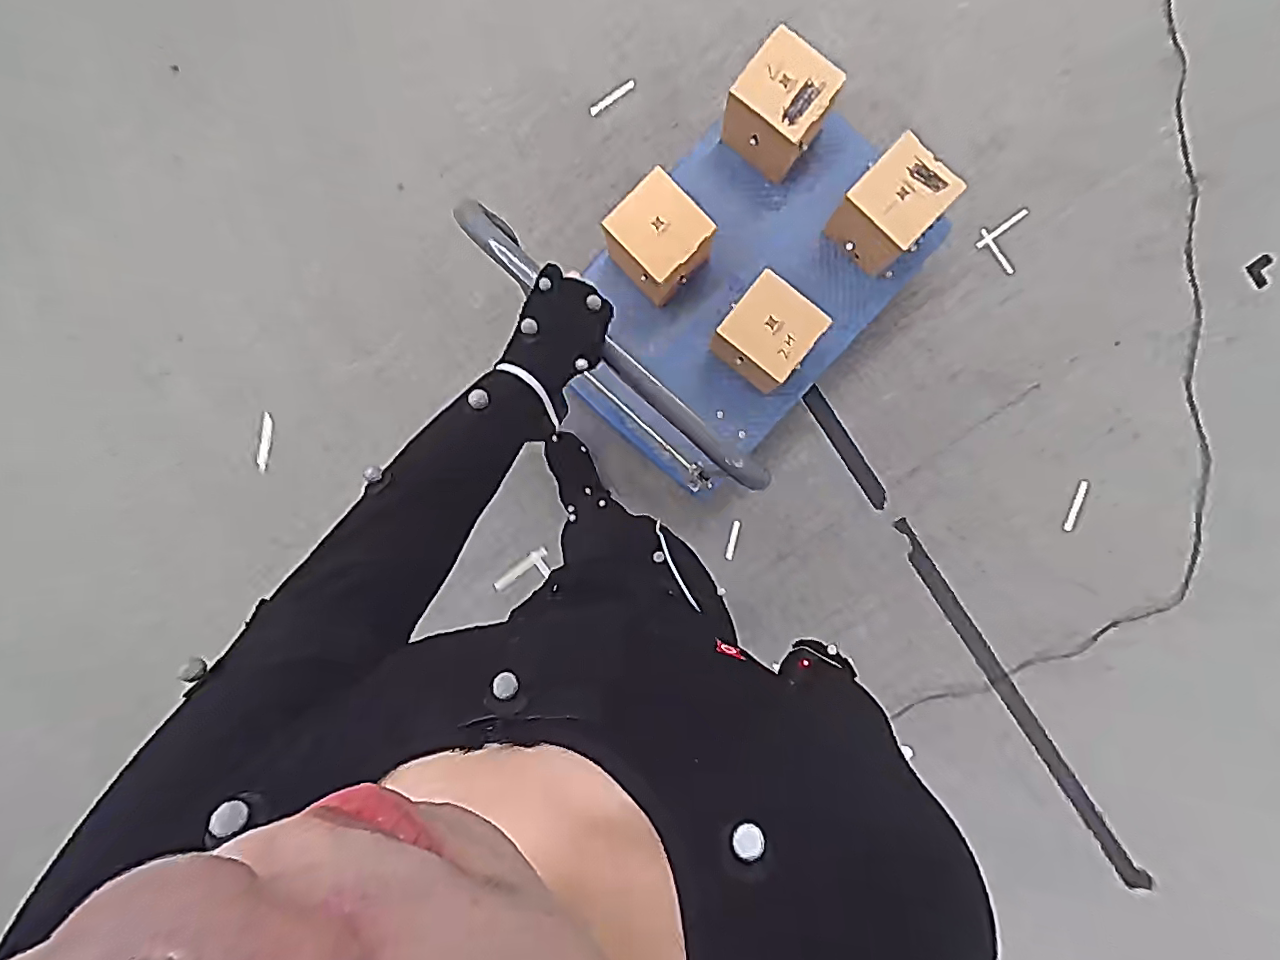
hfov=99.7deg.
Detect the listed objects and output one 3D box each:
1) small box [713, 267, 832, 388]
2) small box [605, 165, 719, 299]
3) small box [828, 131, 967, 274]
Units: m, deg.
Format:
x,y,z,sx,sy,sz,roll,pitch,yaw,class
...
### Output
x,y,z,sx,sy,sz,roll,pitch,yaw,class
0.275,-0.319,1.174,0.179,0.176,0.168,40,93,0,small box
0.044,-0.525,1.174,0.168,0.176,0.179,-44,92,2,small box
0.536,-0.580,1.154,0.168,0.176,0.179,44,94,0,small box
